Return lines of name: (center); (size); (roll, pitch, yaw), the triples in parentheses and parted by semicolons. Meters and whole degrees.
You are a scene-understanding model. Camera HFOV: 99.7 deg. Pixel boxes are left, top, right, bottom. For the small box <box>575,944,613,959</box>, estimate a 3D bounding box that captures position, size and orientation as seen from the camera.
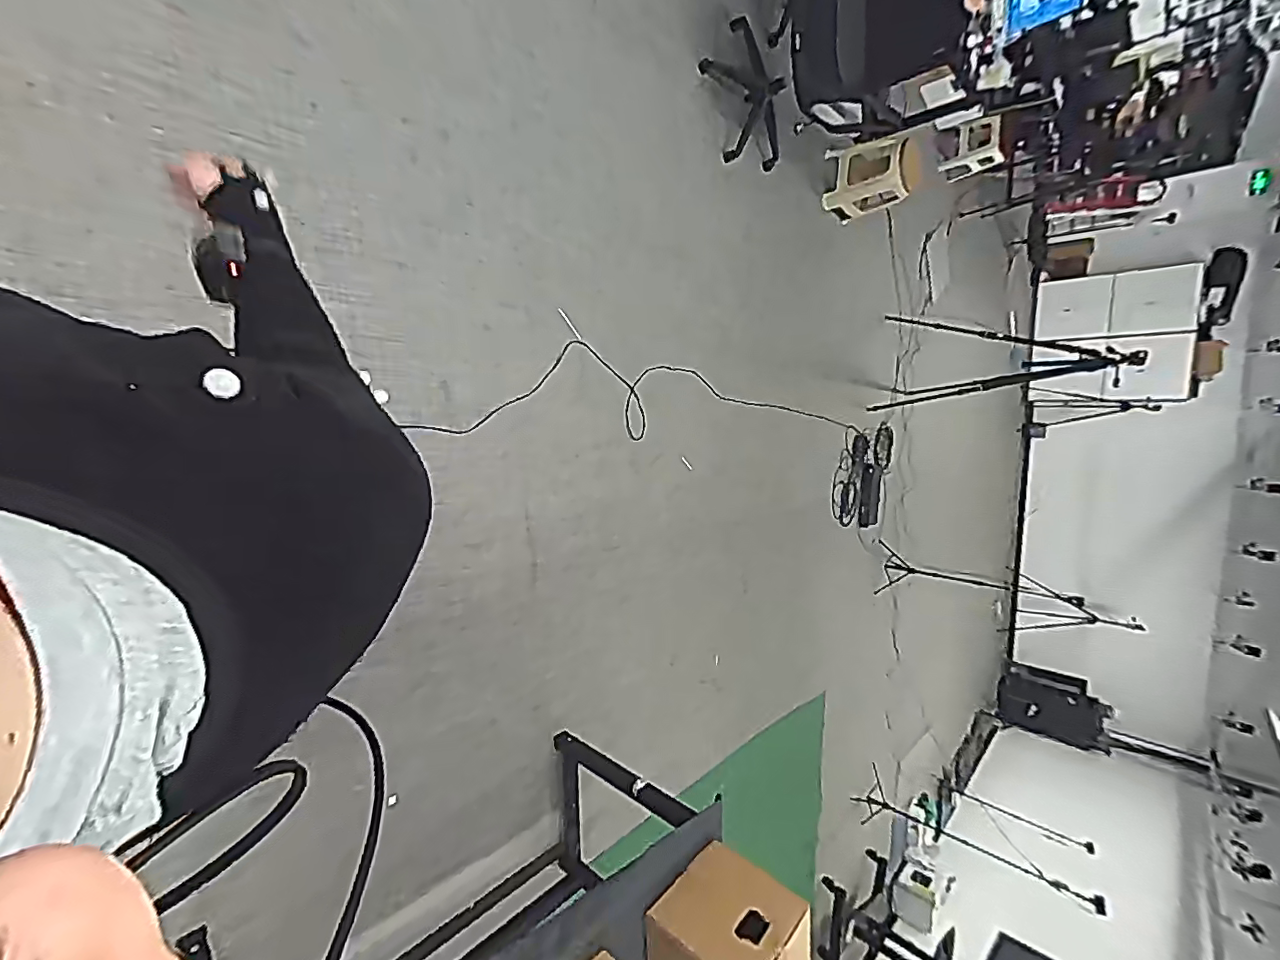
small box: (-0.105, 1.235, 1.234); (0.168, 0.176, 0.179); (-3, 98, -47)
